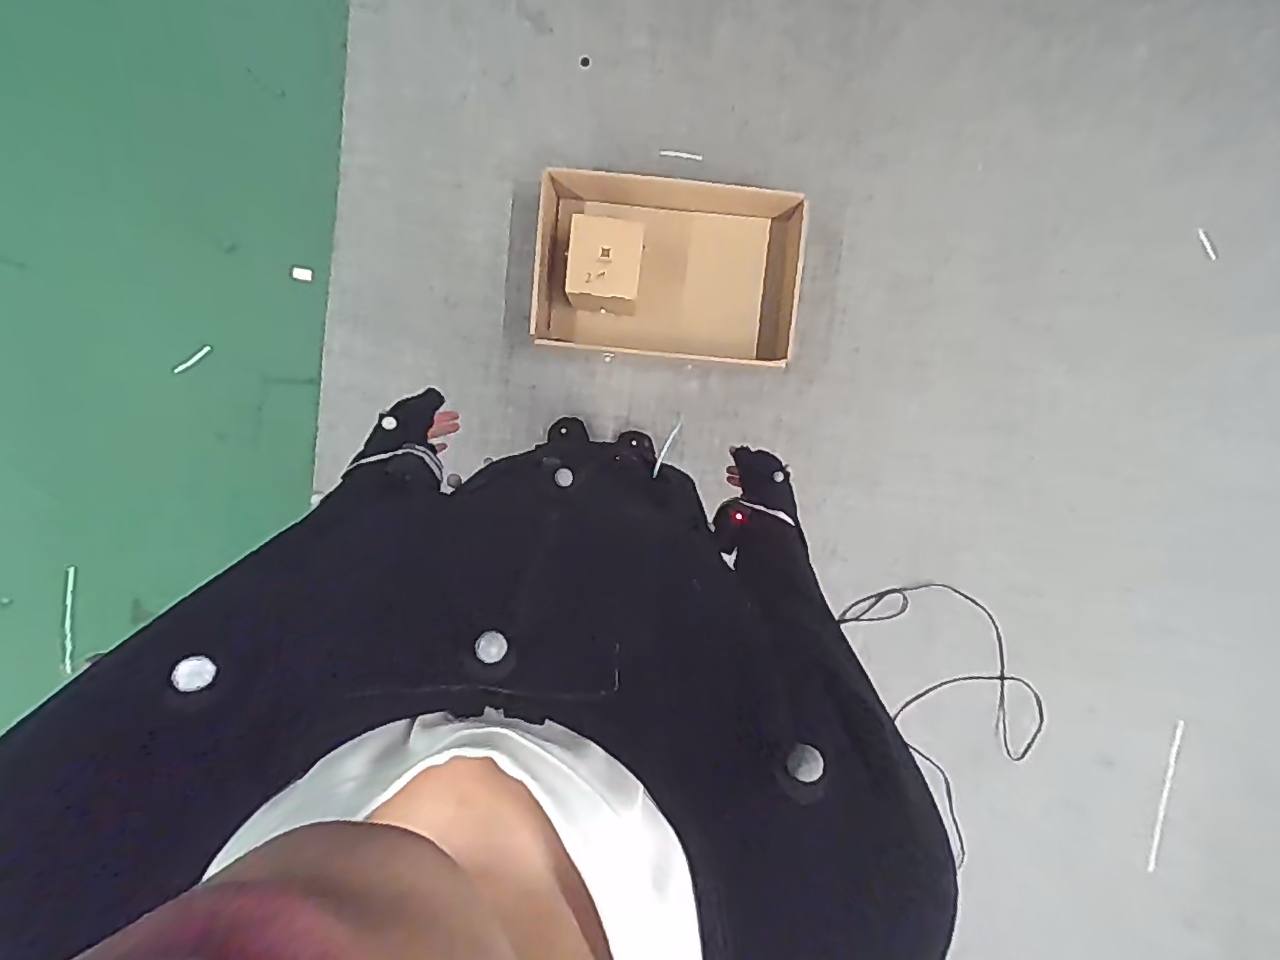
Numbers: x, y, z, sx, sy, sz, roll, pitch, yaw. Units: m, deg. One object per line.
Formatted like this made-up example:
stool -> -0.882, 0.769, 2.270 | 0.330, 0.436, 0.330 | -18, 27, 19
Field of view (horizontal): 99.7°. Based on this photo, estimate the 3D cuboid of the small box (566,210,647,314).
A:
small box -> -0.077, -0.511, 1.289 | 0.168, 0.176, 0.179 | 7, 95, -1
